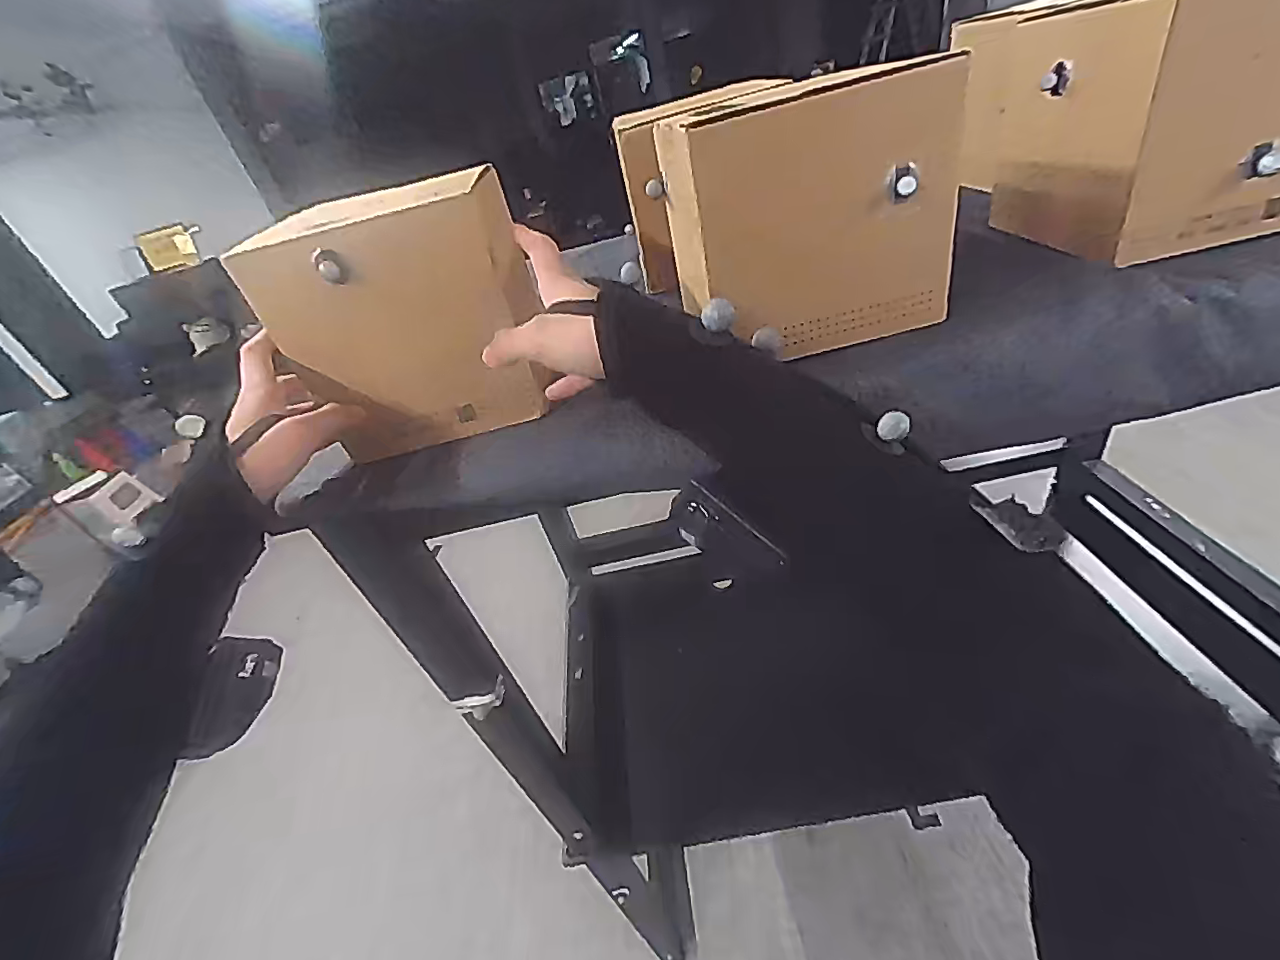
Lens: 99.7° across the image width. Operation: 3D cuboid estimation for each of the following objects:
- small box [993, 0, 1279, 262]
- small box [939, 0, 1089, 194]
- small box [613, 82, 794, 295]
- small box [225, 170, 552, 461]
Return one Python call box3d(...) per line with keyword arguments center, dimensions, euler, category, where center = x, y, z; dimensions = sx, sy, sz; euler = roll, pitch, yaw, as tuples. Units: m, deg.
box3d(center=(0.413, -0.288, 0.426), dimensions=(0.168, 0.176, 0.179), euler=(-12, 35, 7), category="small box")
box3d(center=(0.462, -0.429, 0.597), dimensions=(0.168, 0.176, 0.179), euler=(-13, 36, 2), category="small box")
box3d(center=(0.072, -0.337, 0.628), dimensions=(0.179, 0.176, 0.168), euler=(-13, 36, 5), category="small box")
box3d(center=(-0.179, -0.141, 0.455), dimensions=(0.168, 0.176, 0.179), euler=(-15, 35, 2), category="small box")
